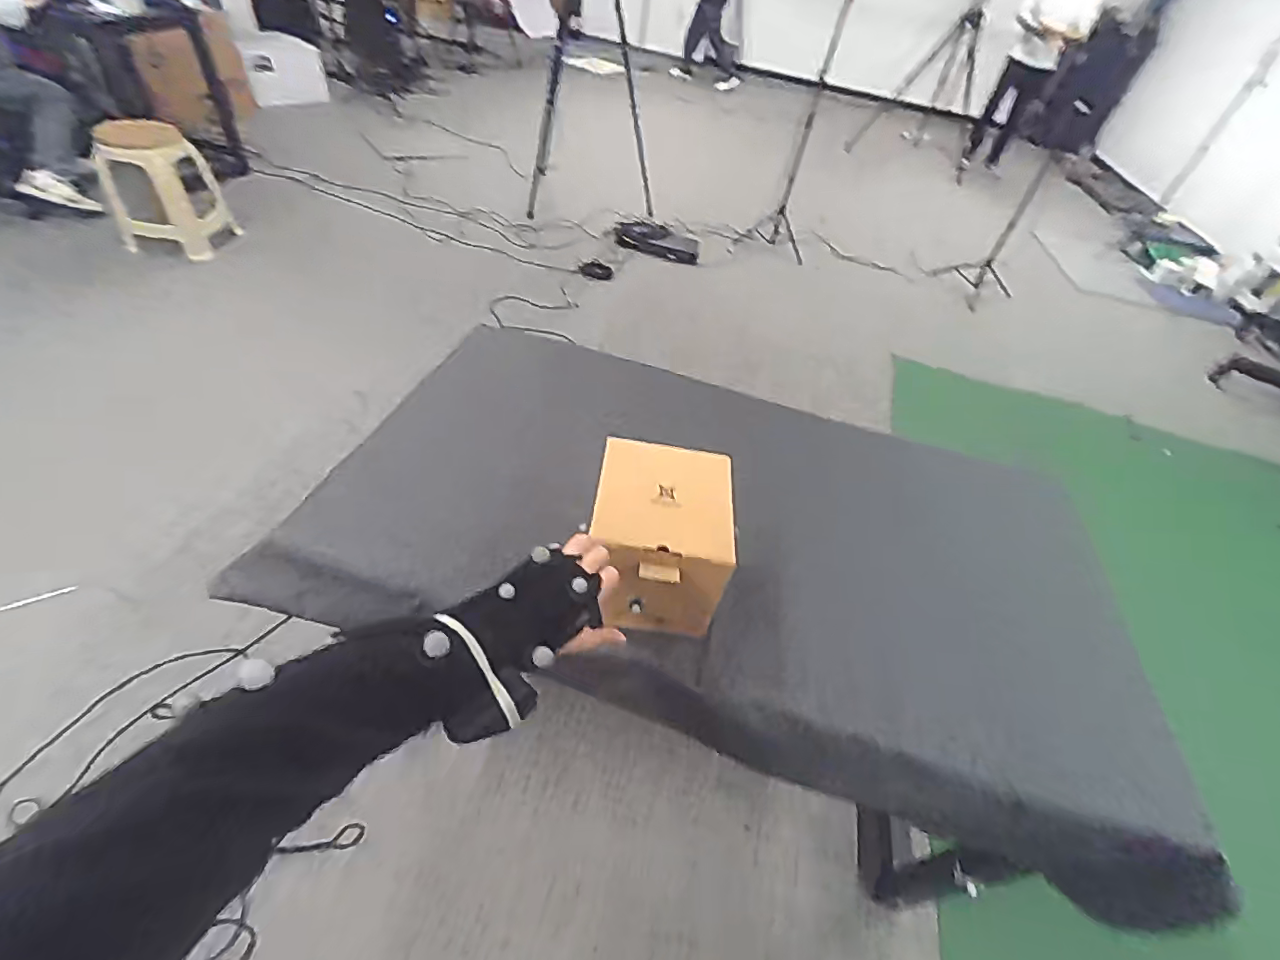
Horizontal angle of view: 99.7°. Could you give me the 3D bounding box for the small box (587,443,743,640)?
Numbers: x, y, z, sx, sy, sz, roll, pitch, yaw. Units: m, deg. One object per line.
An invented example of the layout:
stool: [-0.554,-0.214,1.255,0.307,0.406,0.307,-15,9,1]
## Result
small box: [0.028,0.081,0.708,0.168,0.176,0.179,10,45,-3]
